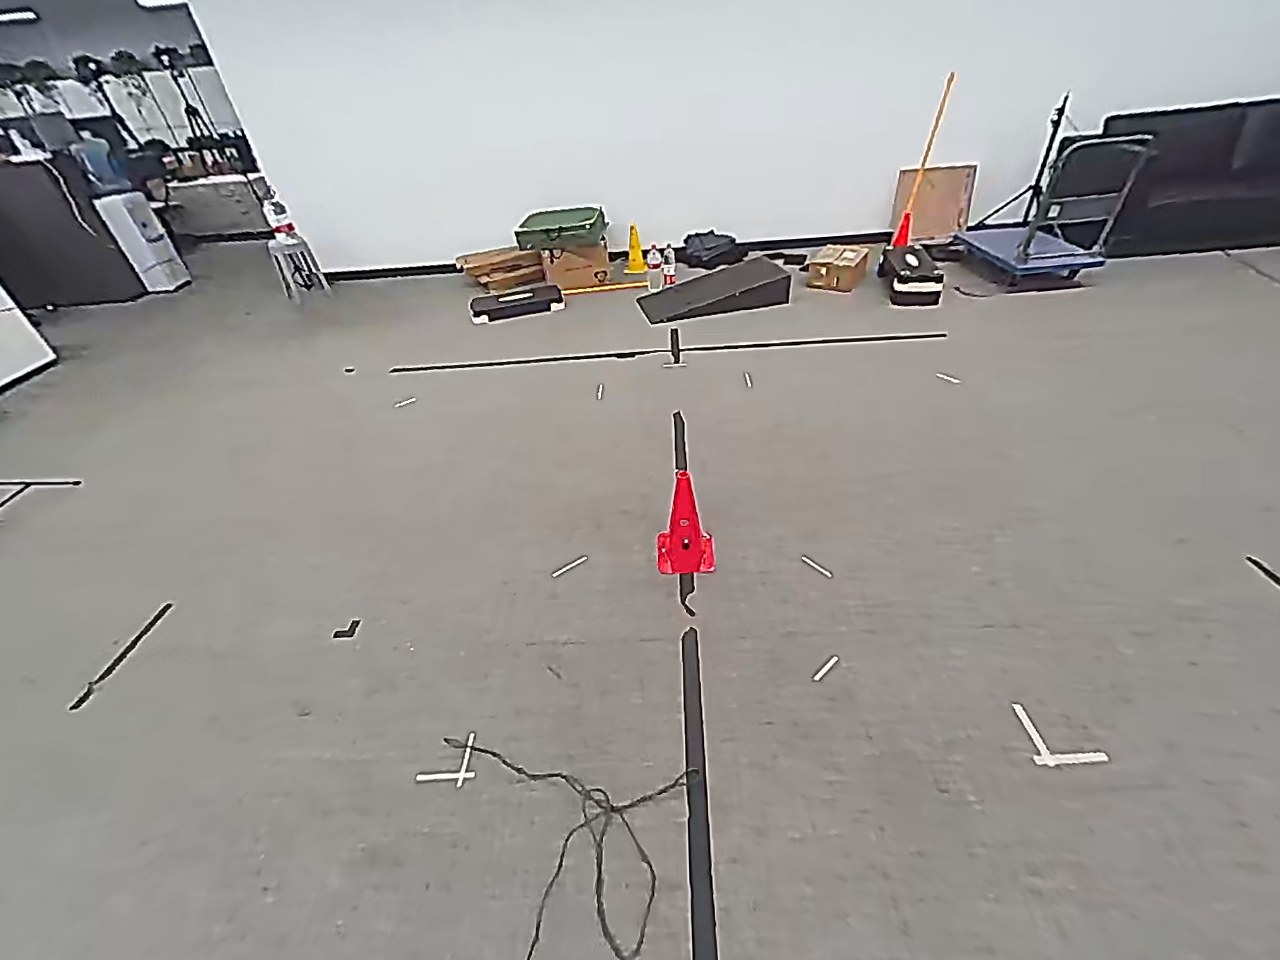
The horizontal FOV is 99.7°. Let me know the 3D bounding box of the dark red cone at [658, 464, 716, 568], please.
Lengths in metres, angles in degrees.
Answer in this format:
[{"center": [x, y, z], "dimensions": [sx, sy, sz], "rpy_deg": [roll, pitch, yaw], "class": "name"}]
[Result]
[{"center": [0.151, 0.108, 1.824], "dimensions": [0.201, 0.394, 0.202], "rpy_deg": [-4, 38, 4], "class": "dark red cone"}]
